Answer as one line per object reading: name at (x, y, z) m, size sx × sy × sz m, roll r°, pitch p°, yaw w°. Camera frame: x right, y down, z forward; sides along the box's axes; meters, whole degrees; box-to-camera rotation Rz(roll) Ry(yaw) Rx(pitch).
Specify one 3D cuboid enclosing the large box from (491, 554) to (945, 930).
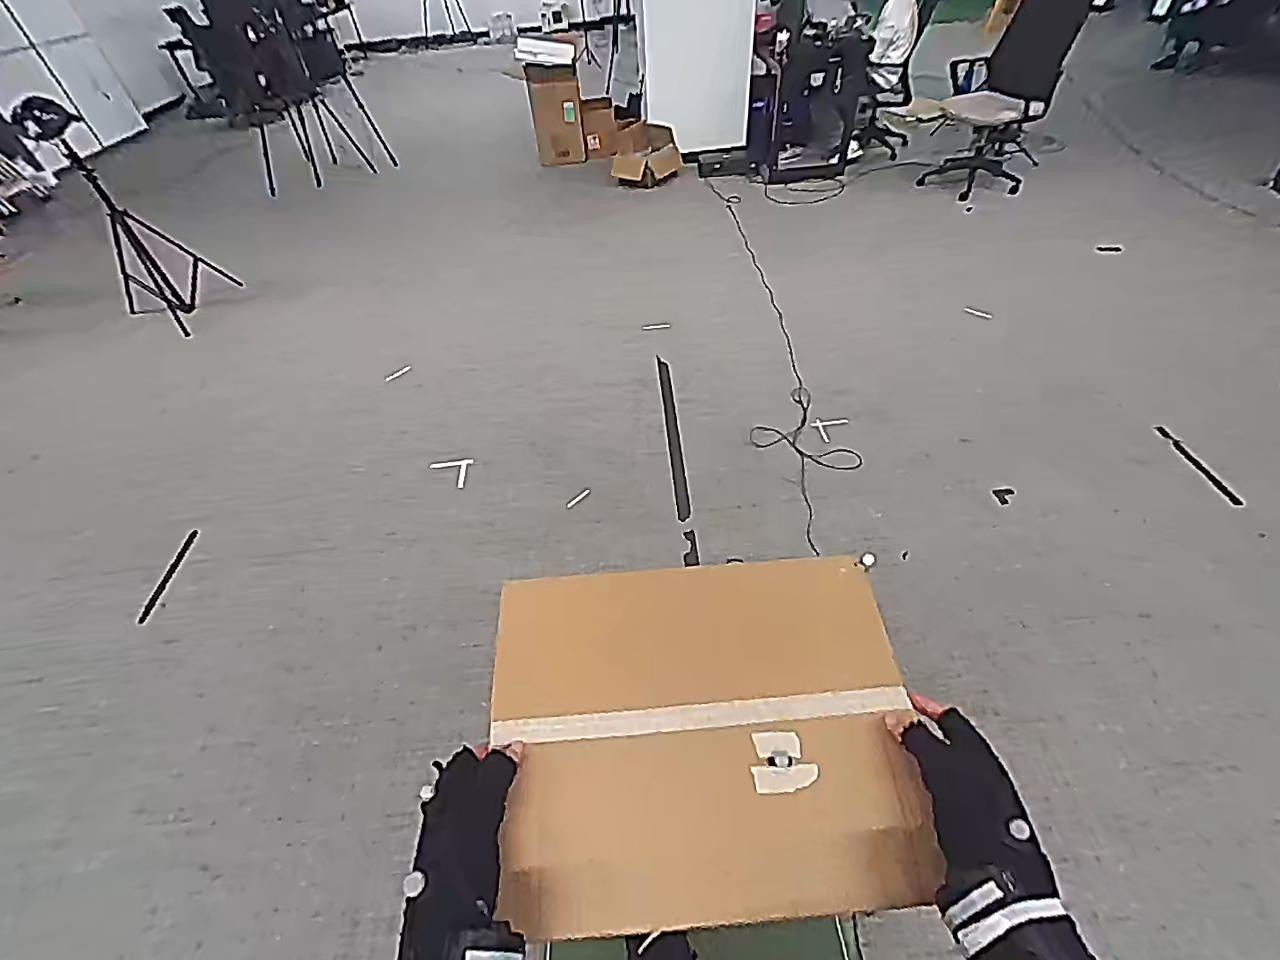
large box at (0.056, 0.315, 0.665) m, size 0.408 × 0.320 × 0.320 m, roll -5°, pitch 56°, yaw -2°
